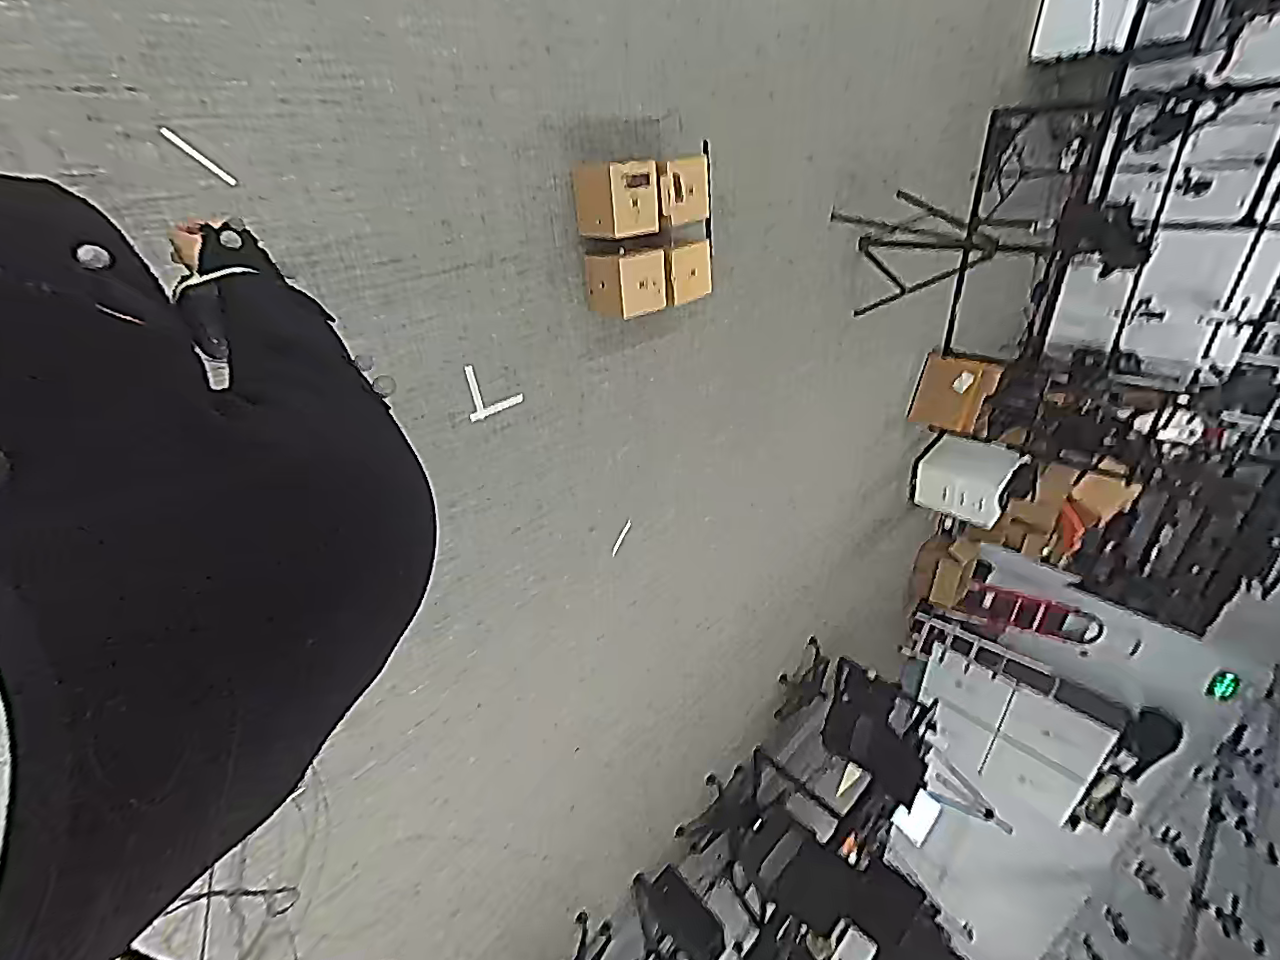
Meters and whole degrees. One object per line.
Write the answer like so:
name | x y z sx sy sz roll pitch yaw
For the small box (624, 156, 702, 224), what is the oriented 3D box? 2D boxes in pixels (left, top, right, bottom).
small box | 0.066 -0.873 1.631 0.179 0.176 0.168 -31 130 -35
